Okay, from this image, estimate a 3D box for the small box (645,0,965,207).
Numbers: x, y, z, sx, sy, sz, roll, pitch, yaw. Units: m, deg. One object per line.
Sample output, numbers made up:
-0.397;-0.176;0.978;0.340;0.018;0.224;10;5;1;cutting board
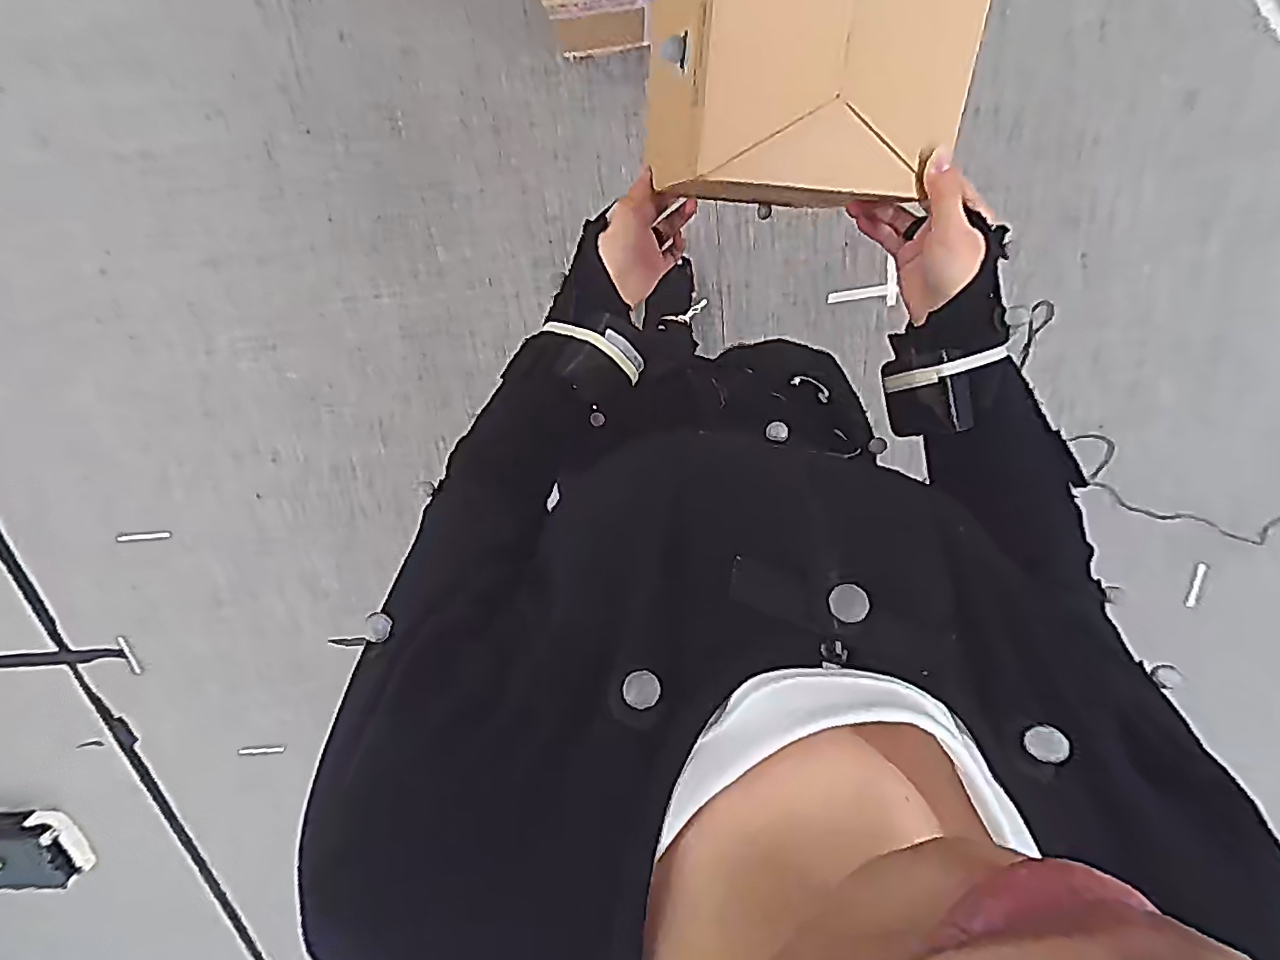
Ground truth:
0.109;-0.302;0.403;0.179;0.176;0.168;-2;114;-13;small box
